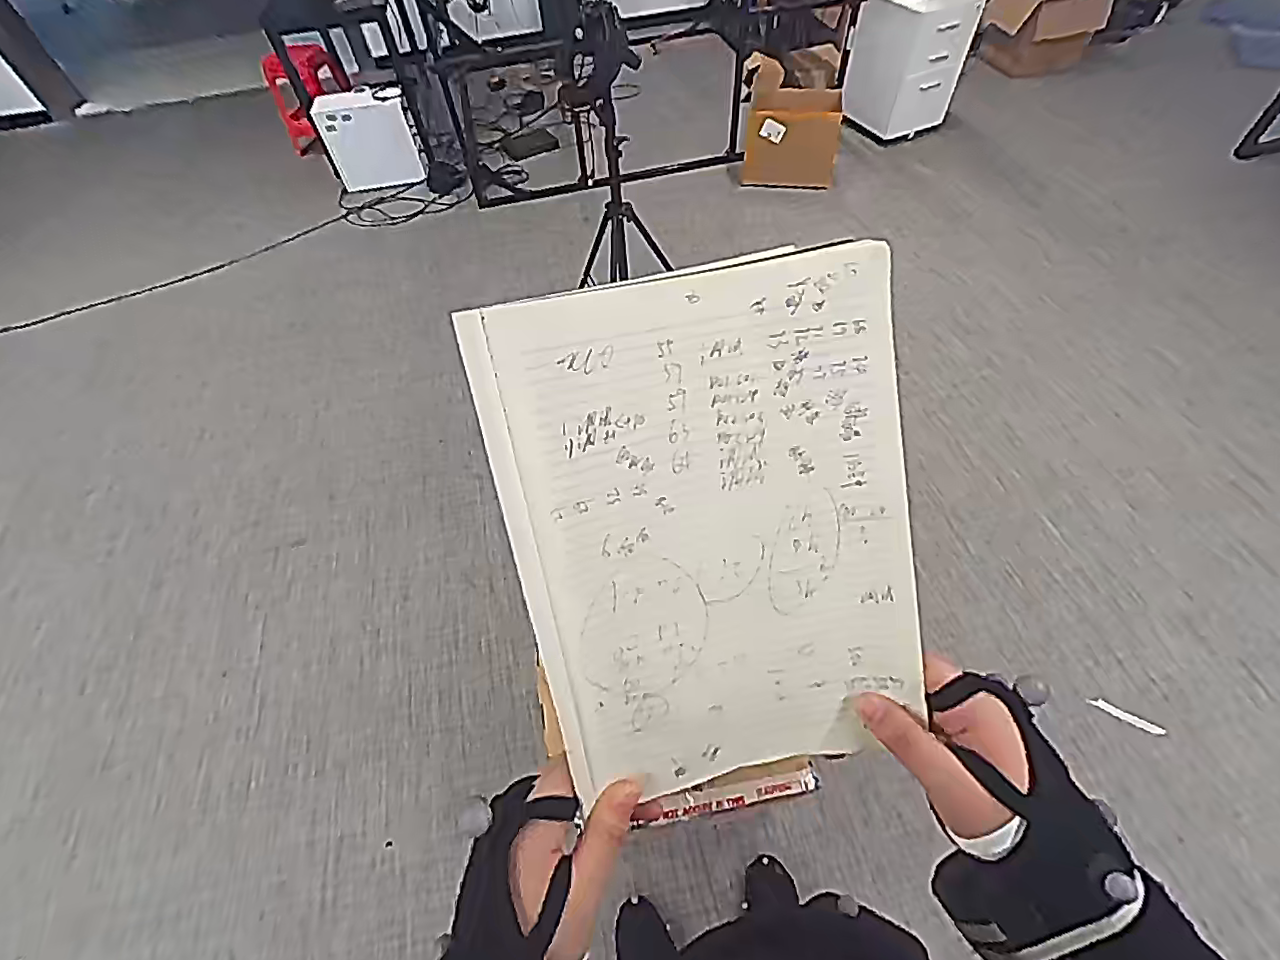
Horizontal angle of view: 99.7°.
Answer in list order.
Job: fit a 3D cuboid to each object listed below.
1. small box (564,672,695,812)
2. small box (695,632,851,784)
[{"bbox_3d":[-0.015,0.410,0.838,0.179,0.176,0.168,-8,56,0],"label":"small box"},{"bbox_3d":[0.196,0.364,0.858,0.179,0.176,0.168,-13,56,-7],"label":"small box"}]
